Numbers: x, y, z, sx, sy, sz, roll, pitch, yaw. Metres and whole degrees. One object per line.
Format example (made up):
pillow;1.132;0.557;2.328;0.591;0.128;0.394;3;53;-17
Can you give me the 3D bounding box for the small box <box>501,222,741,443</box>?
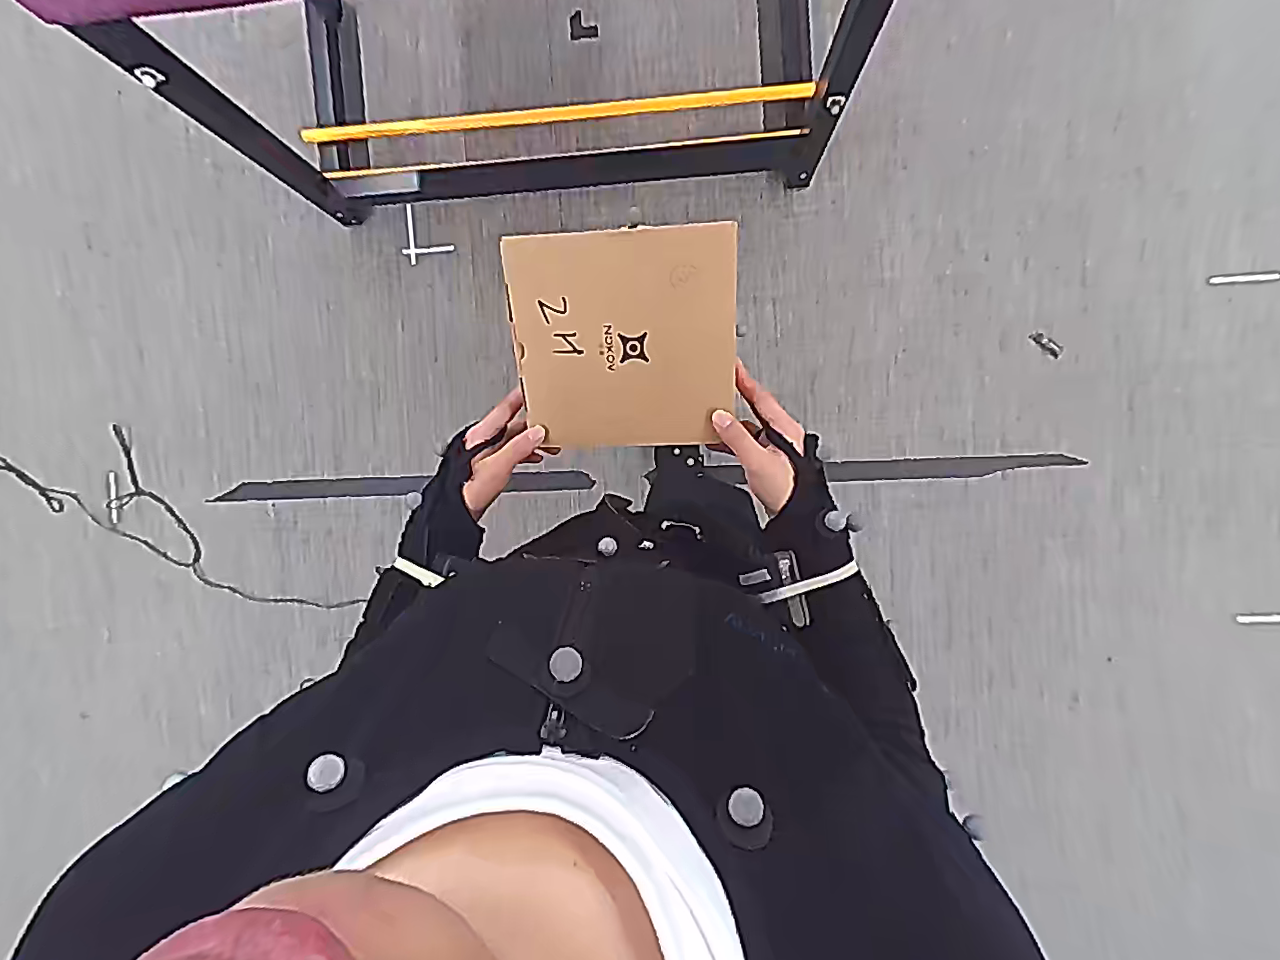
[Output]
small box;-0.005;-0.139;0.488;0.179;0.176;0.168;0;114;7
